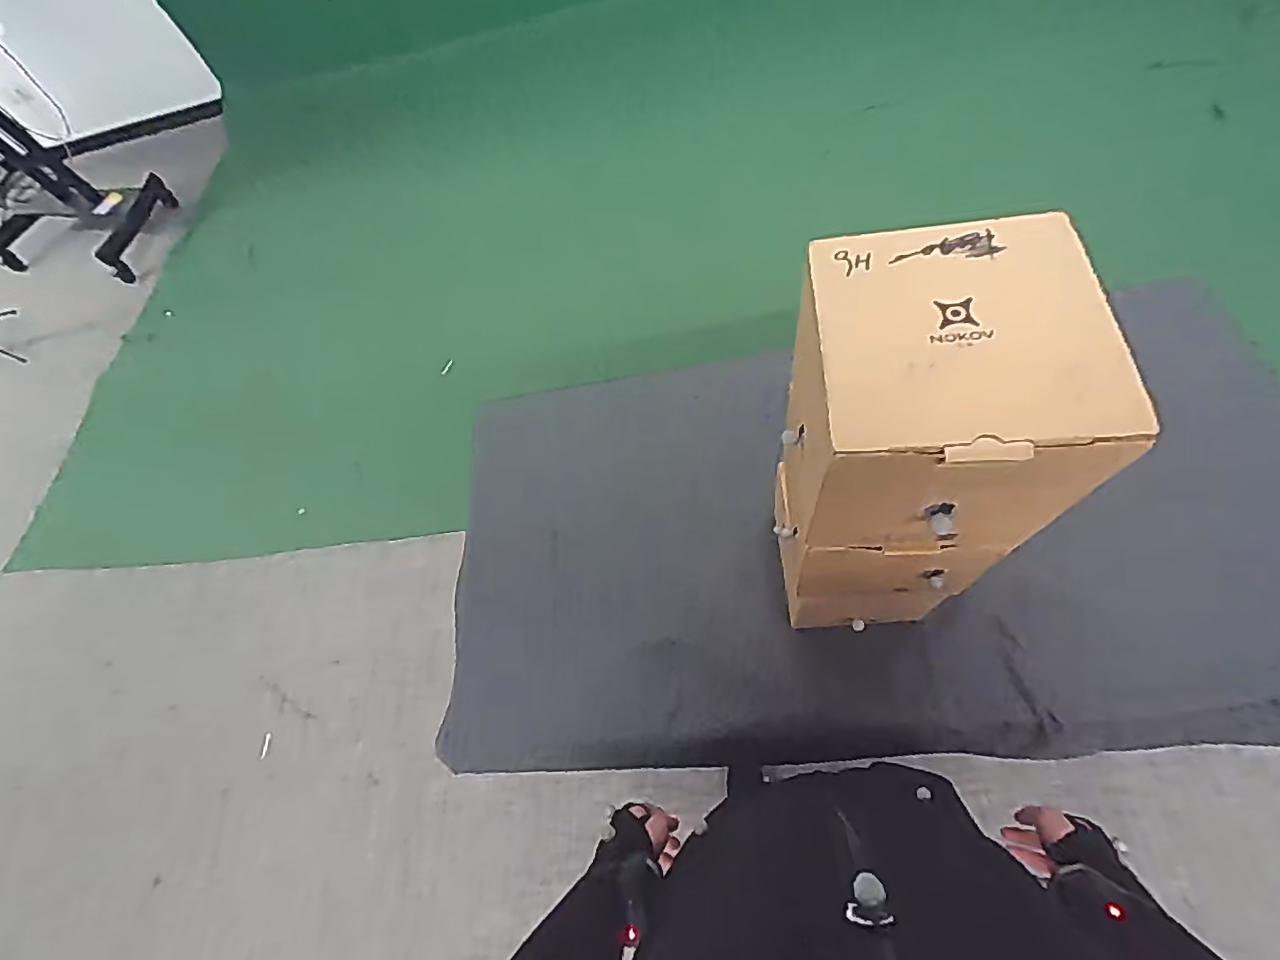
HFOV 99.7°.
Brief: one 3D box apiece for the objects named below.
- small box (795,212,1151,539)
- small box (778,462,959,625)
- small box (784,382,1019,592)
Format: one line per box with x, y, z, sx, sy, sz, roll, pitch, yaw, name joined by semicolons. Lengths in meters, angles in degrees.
0.208;-0.059;0.402;0.168;0.176;0.179;-2;65;11;small box
0.271;0.078;0.690;0.168;0.176;0.179;-7;64;10;small box
0.239;0.012;0.546;0.168;0.176;0.179;-4;63;10;small box
